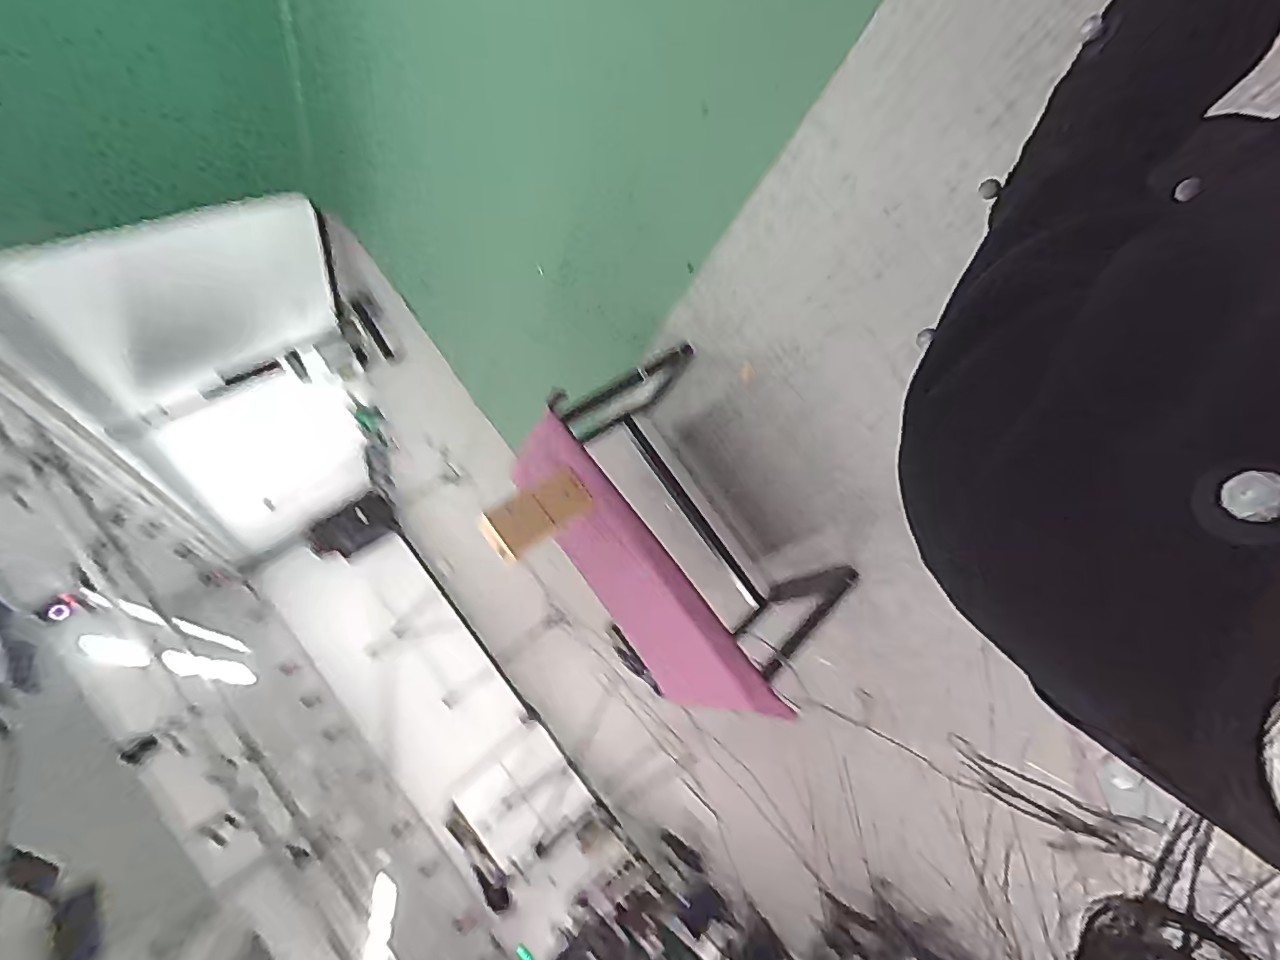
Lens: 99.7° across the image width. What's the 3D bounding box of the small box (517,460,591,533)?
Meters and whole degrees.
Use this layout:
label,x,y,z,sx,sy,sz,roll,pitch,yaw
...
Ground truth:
label,x,y,z,sx,sy,sz,roll,pitch,yaw
small box,-0.294,0.056,1.864,0.168,0.176,0.179,54,151,1
